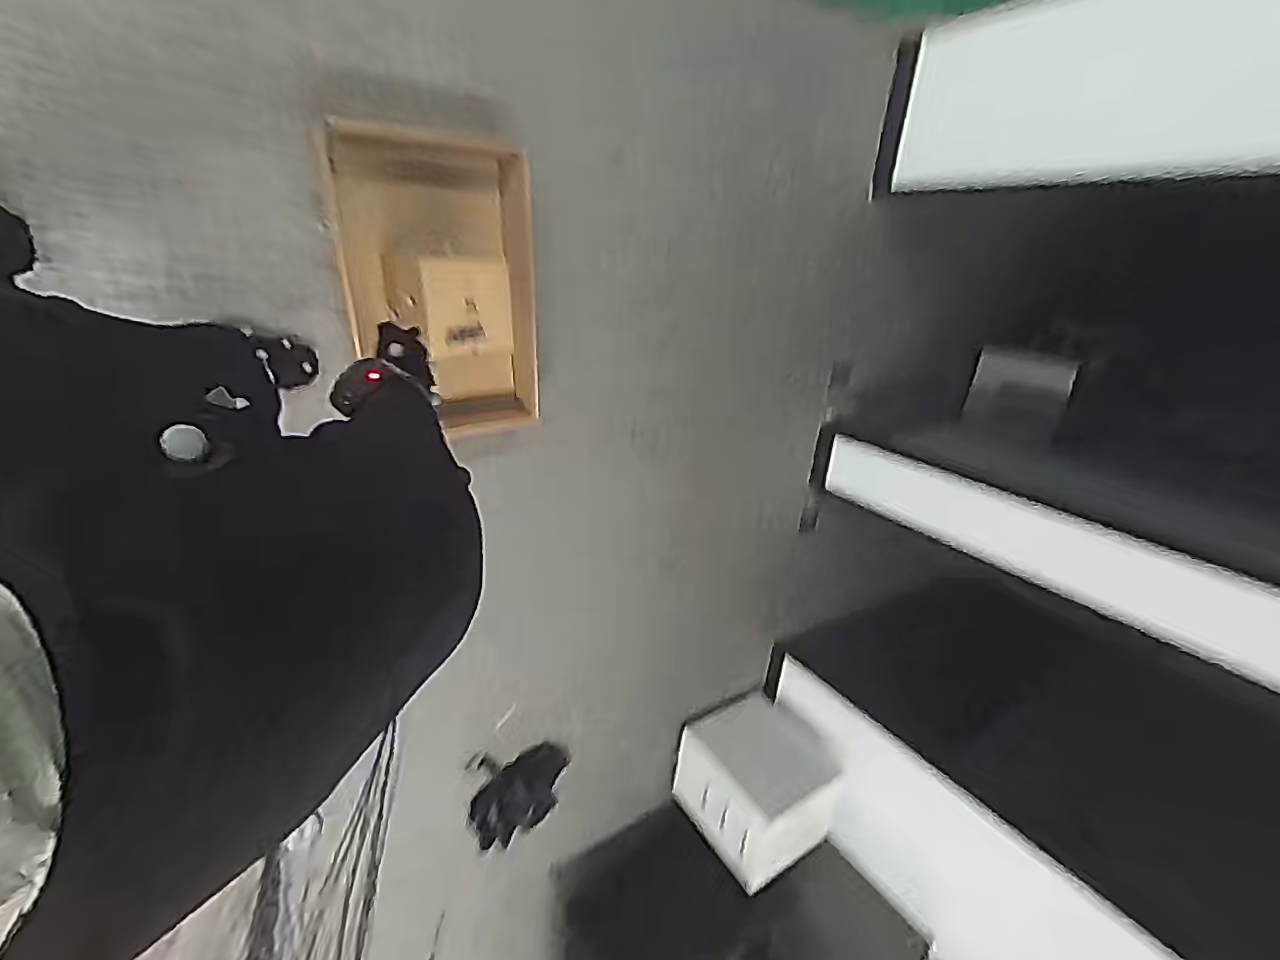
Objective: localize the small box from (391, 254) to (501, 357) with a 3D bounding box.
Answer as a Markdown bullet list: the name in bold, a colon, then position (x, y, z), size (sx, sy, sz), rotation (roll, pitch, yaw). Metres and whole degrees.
- **small box**: position (-0.391, -0.354, 1.090), size (0.168, 0.176, 0.179), rotation (-13, 118, -34)

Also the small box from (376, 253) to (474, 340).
- **small box**: position (-0.472, -0.409, 1.201), size (0.179, 0.176, 0.168), rotation (-15, 120, -34)
